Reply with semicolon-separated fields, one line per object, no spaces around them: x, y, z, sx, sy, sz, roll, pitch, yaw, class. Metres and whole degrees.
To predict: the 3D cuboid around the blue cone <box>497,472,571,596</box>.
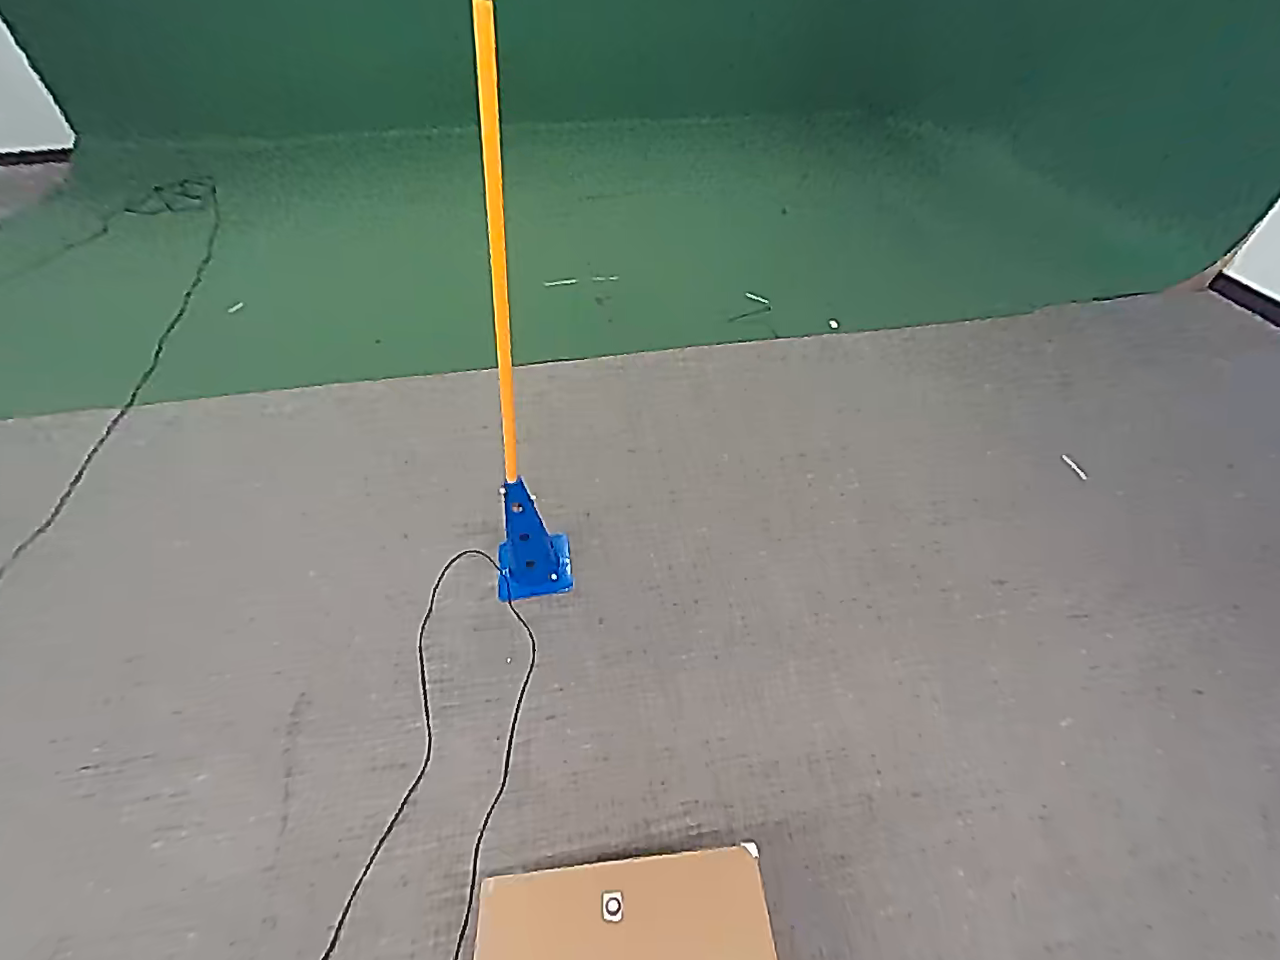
-0.291;0.113;1.368;0.193;0.380;0.192;-8;48;-9;blue cone
